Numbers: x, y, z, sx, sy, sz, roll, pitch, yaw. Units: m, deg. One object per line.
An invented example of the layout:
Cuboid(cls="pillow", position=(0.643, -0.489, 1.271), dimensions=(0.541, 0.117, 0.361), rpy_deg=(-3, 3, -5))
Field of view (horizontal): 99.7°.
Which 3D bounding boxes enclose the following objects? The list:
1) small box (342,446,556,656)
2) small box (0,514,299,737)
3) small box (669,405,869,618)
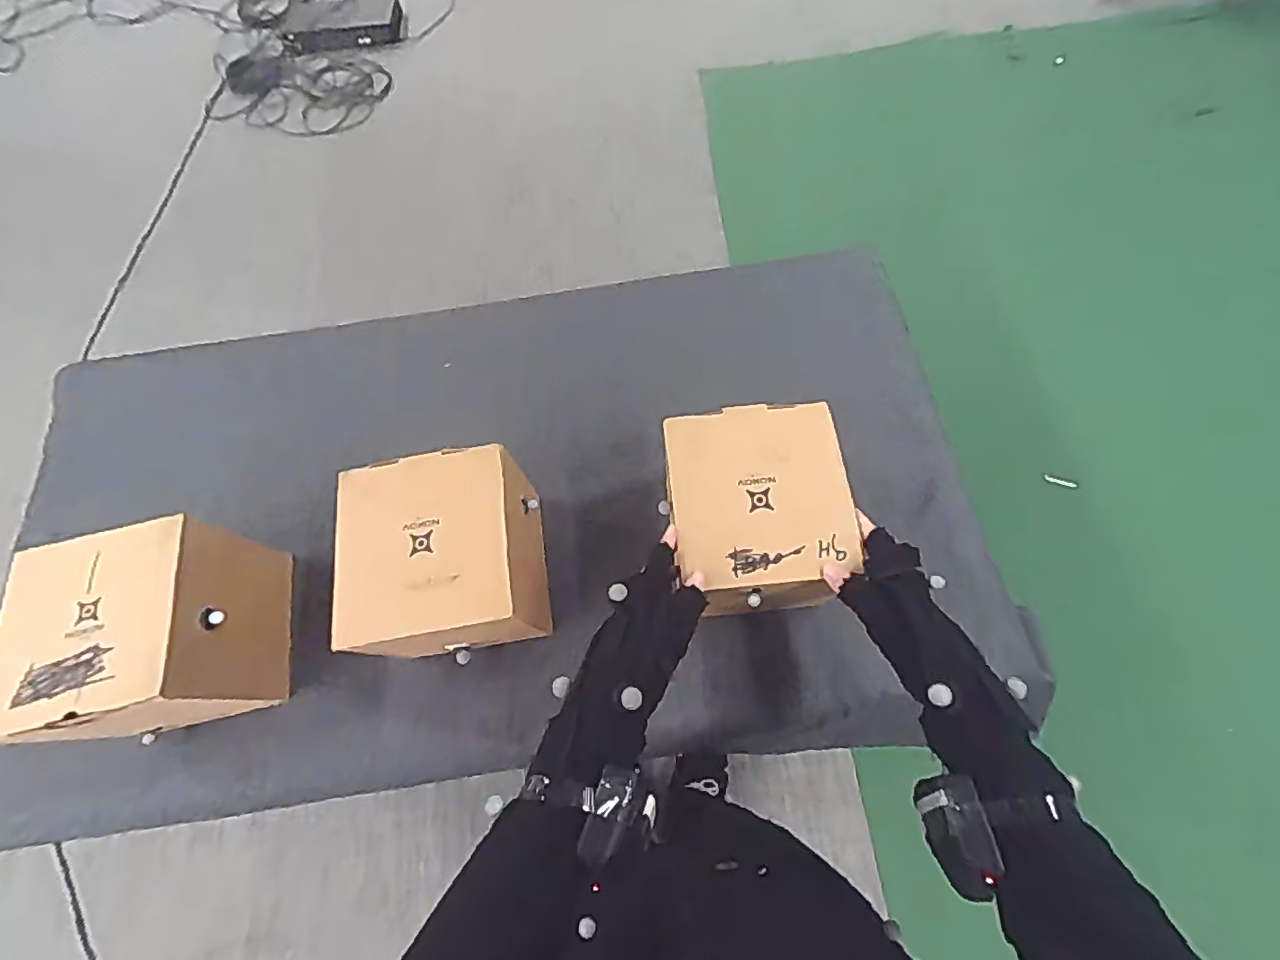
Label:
Cuboid(cls="small box", position=(-0.195, 0.086, 0.589), dimensions=(0.168, 0.176, 0.179), rpy_deg=(-11, 69, 0))
Cuboid(cls="small box", position=(-0.496, 0.158, 0.576), dimensions=(0.168, 0.176, 0.179), rpy_deg=(-13, 66, -2))
Cuboid(cls="small box", position=(0.119, 0.042, 0.582), dimensions=(0.168, 0.176, 0.179), rpy_deg=(-6, 68, 2))
